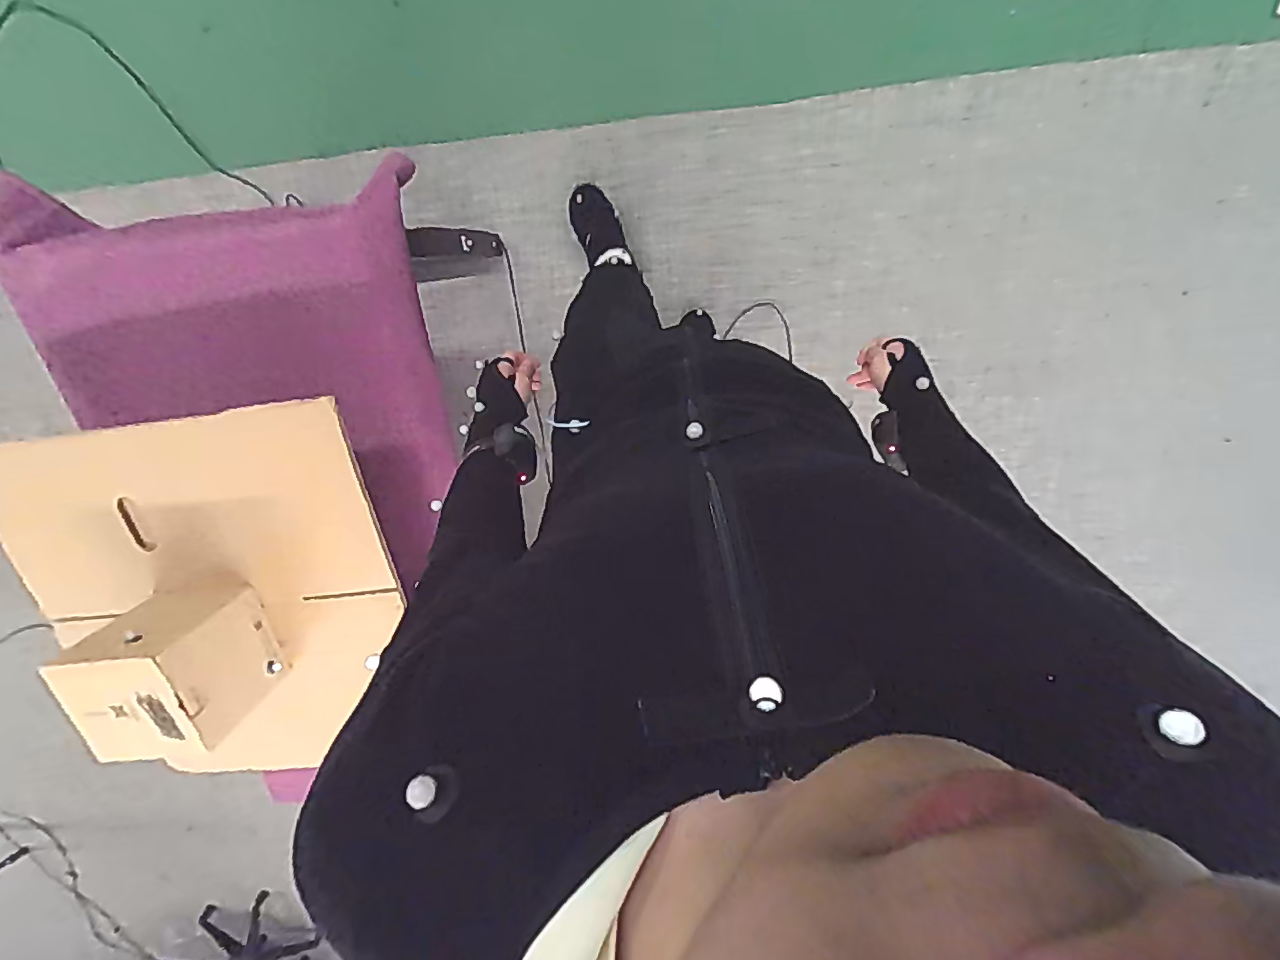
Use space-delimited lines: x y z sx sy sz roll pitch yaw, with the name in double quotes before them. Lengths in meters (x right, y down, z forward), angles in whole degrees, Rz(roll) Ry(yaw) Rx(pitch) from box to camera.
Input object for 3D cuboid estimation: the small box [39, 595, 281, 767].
"small box" -0.661 0.280 0.777 0.179 0.176 0.168 -7 110 8
